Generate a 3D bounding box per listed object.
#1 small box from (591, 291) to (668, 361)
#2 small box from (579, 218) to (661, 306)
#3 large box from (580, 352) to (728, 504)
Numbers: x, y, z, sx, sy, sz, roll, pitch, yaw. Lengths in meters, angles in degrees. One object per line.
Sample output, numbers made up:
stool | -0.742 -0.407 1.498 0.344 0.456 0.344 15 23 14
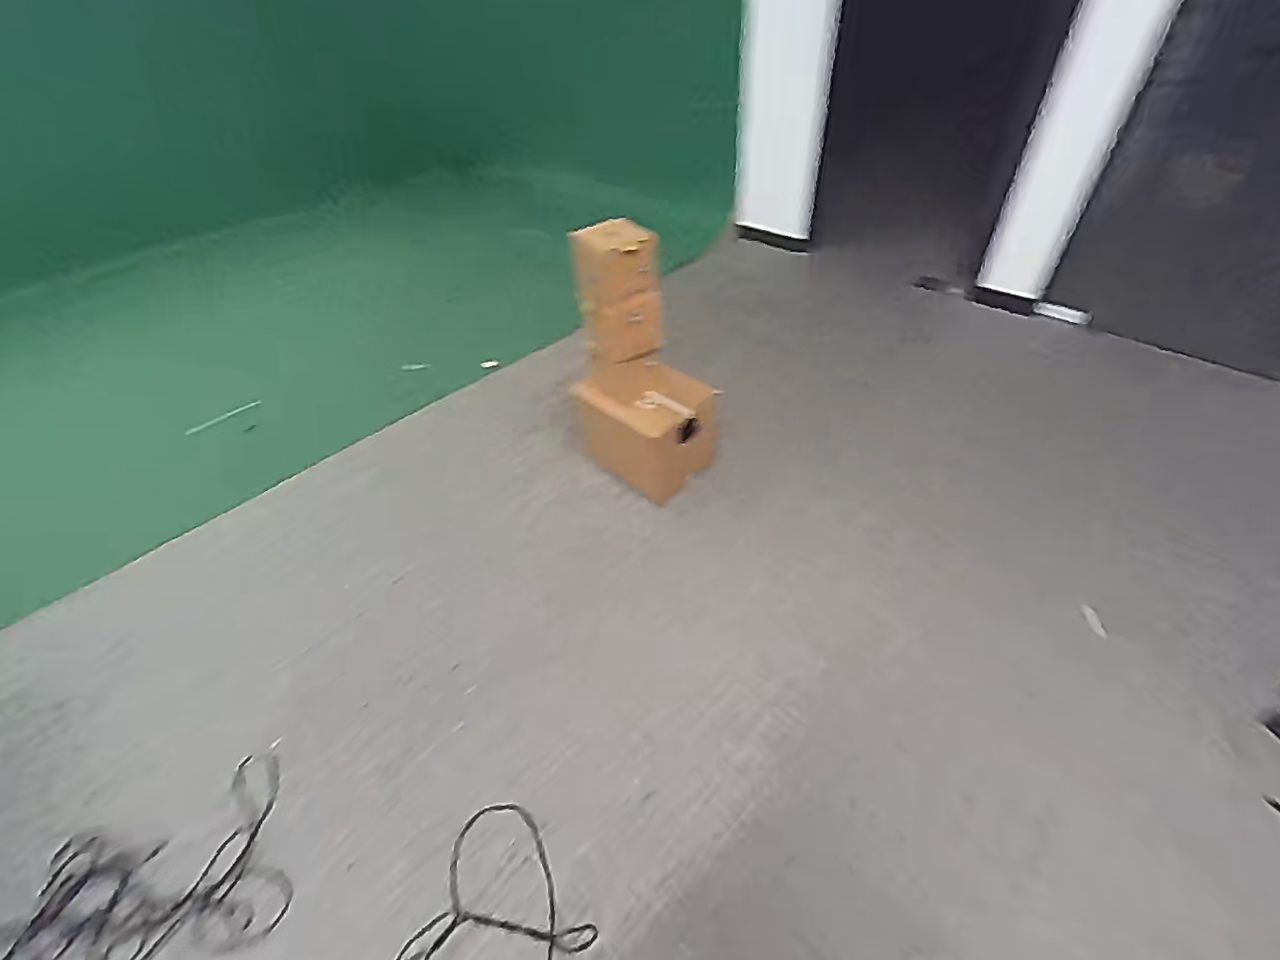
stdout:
small box | -0.030 -0.488 1.627 0.179 0.176 0.168 -25 49 -18
small box | -0.051 -0.609 1.521 0.168 0.176 0.179 -27 48 -21
large box | 0.048 -0.190 1.898 0.320 0.320 0.408 -38 54 -26
